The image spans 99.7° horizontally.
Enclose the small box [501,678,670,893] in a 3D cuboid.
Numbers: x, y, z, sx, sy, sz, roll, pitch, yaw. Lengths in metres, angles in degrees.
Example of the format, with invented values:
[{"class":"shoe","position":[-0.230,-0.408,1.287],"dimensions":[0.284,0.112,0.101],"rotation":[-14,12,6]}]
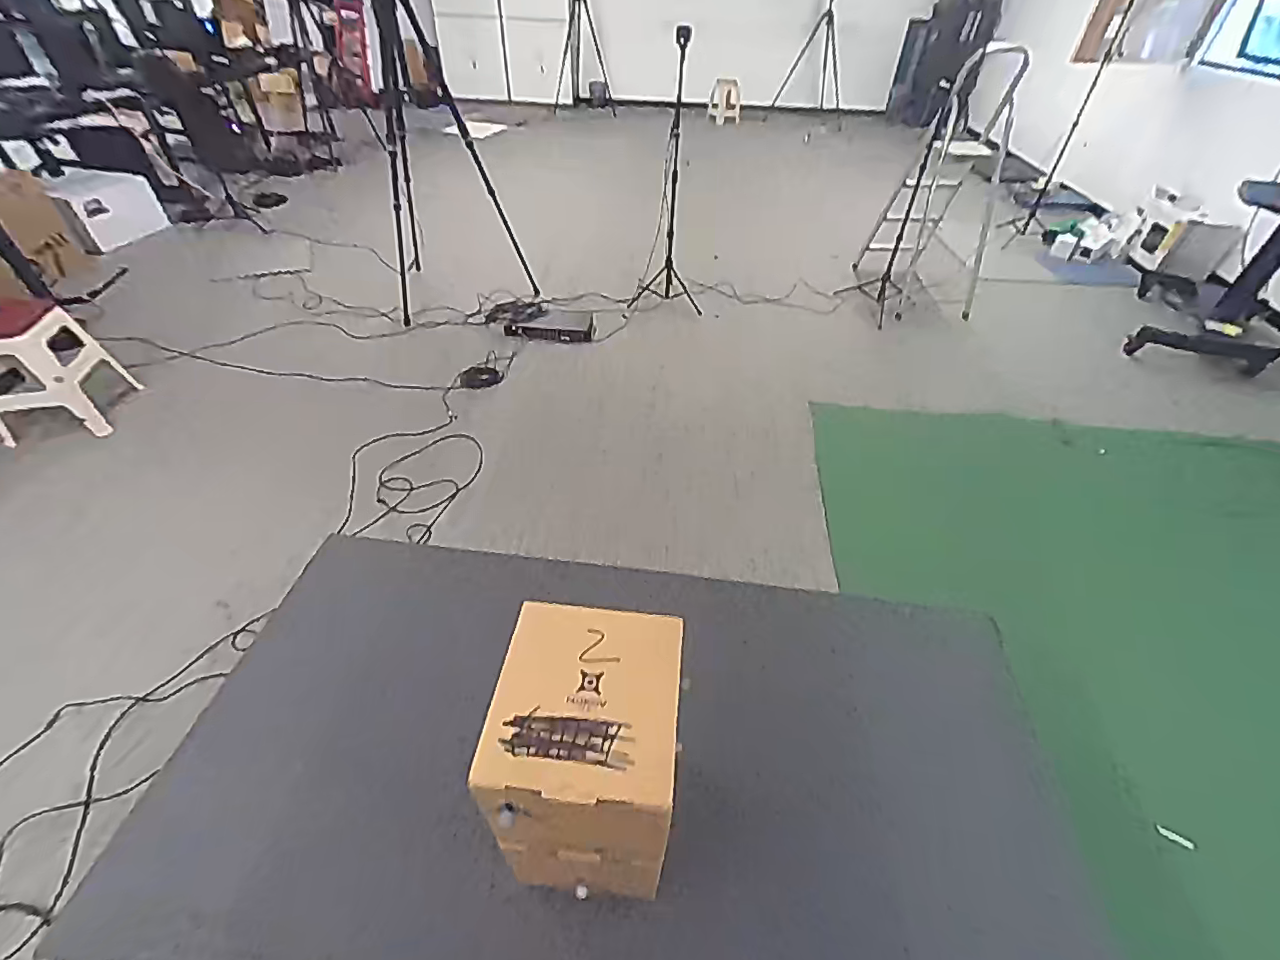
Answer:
[{"class":"small box","position":[-0.056,0.369,0.657],"dimensions":[0.168,0.176,0.179],"rotation":[5,44,3]}]
